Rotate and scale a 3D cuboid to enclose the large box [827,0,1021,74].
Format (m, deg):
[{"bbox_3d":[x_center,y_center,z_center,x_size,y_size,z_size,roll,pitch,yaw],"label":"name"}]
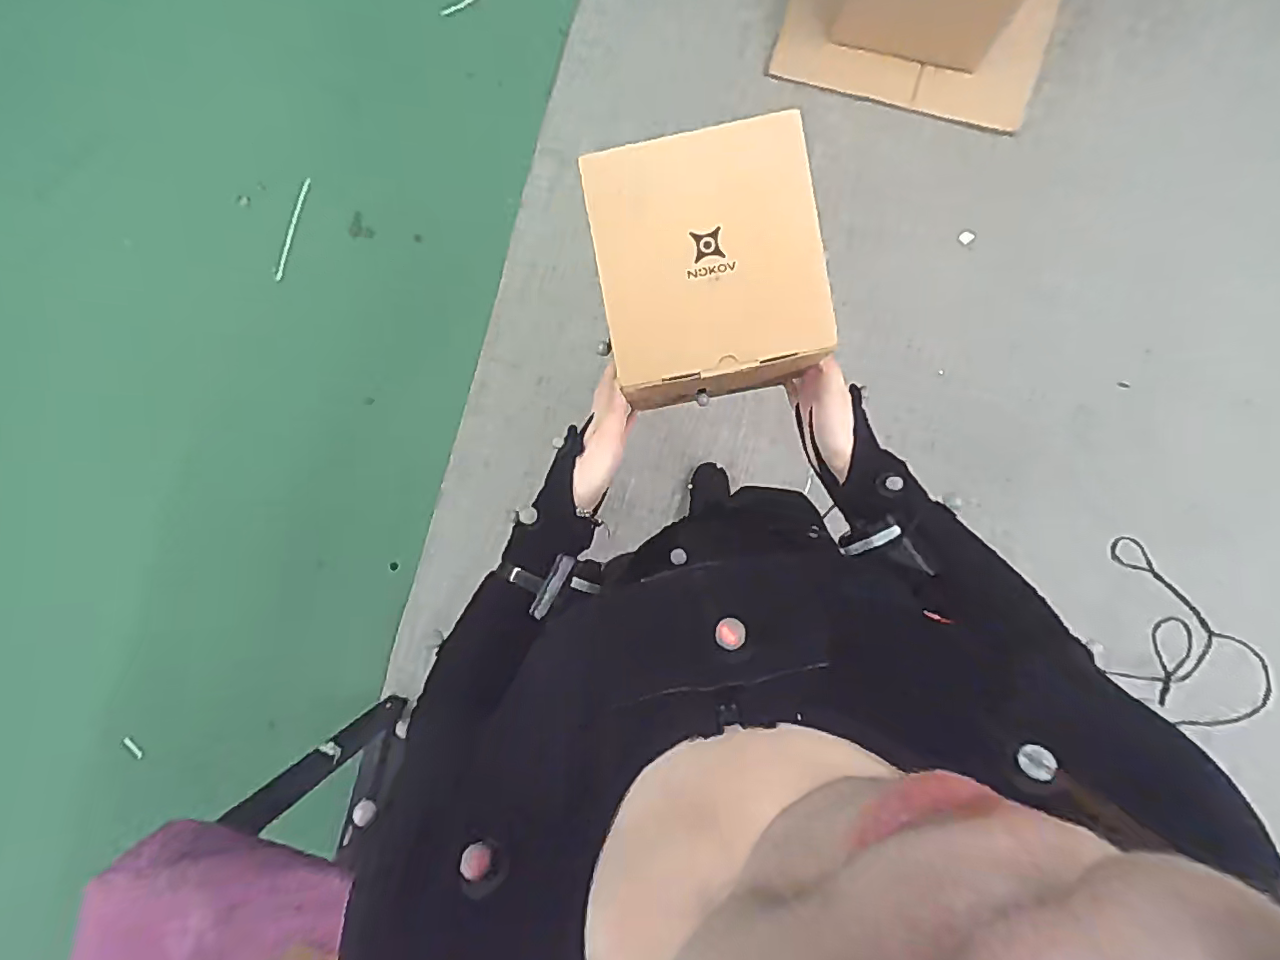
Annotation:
[{"bbox_3d":[0.730,-1.298,1.337,0.408,0.320,0.320,15,90,3],"label":"large box"}]

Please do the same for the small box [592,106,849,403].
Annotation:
[{"bbox_3d":[0.059,-0.174,0.472,0.168,0.176,0.179,-11,92,2],"label":"small box"}]
